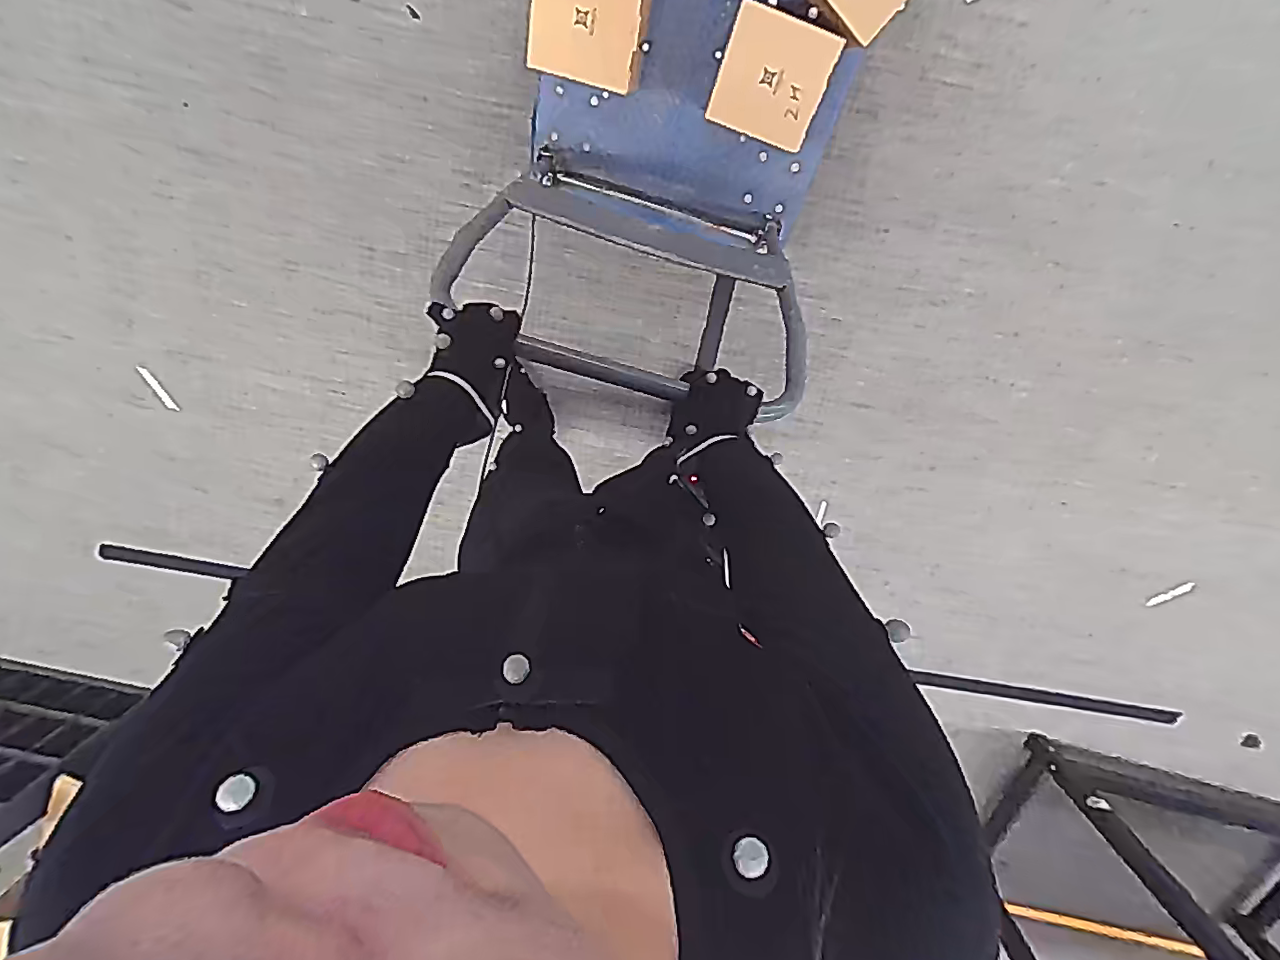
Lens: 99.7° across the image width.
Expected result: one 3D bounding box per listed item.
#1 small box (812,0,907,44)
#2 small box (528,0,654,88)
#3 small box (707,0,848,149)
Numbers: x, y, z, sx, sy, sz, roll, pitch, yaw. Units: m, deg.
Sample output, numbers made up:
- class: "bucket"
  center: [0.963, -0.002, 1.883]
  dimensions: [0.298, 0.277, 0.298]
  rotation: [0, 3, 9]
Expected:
- class: "small box"
  center: [0.357, -0.822, 0.833]
  dimensions: [0.168, 0.176, 0.179]
  rotation: [36, 124, -19]
- class: "small box"
  center: [-0.077, -0.788, 0.919]
  dimensions: [0.179, 0.176, 0.168]
  rotation: [13, 128, -4]
- class: "small box"
  center: [0.228, -0.706, 0.940]
  dimensions: [0.179, 0.176, 0.168]
  rotation: [18, 128, -6]
